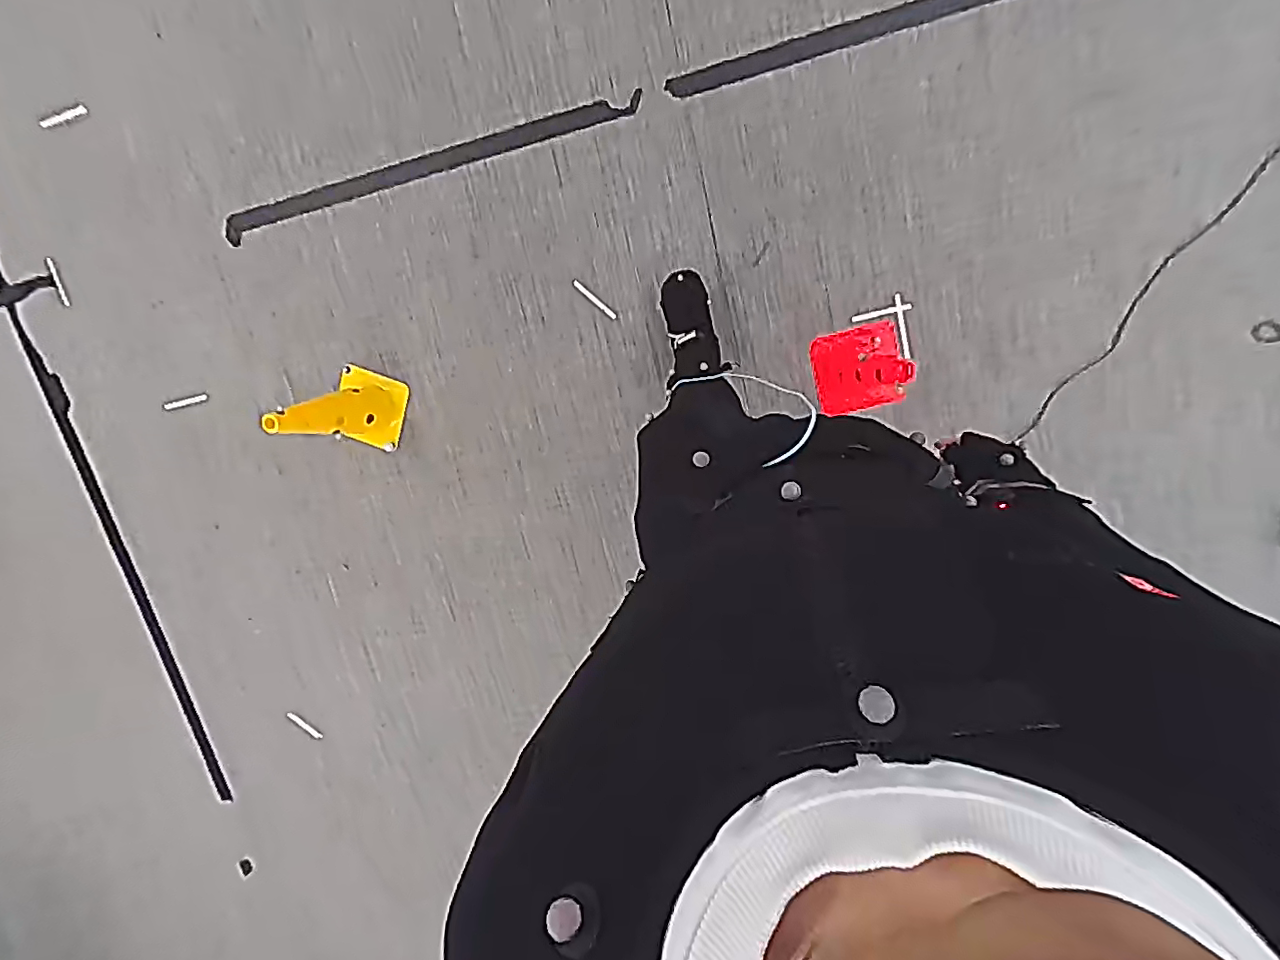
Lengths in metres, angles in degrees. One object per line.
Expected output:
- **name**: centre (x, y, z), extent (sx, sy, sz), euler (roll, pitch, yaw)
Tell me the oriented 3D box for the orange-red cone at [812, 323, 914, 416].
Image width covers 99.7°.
- **orange-red cone**: centre (0.504, -0.232, 1.148), extent (0.199, 0.360, 0.198), euler (-12, 99, 12)
